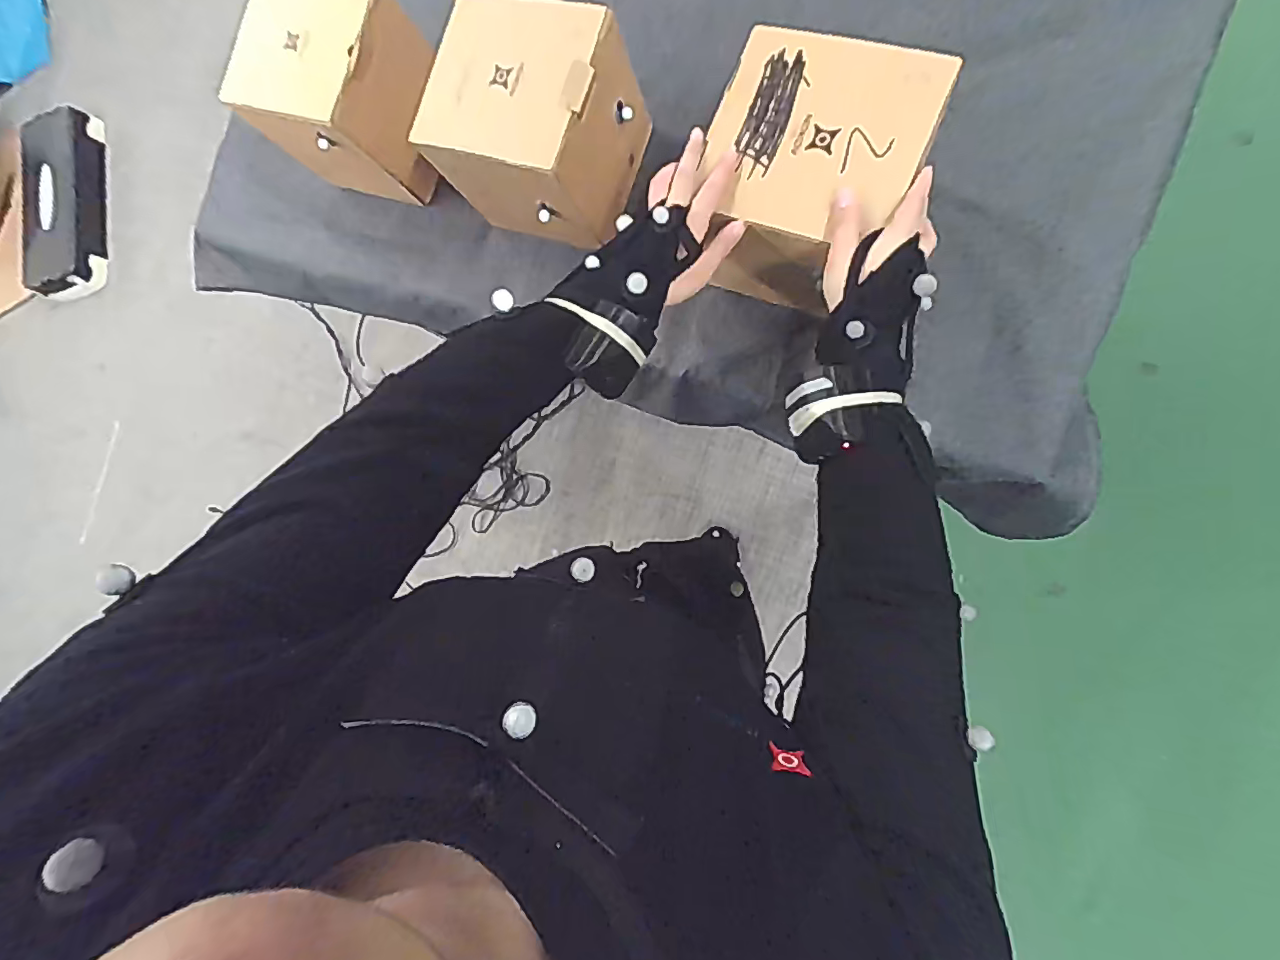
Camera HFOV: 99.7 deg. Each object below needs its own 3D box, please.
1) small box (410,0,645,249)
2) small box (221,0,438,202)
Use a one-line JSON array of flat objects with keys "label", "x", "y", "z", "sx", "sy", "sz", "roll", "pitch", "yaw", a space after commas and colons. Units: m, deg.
[{"label": "small box", "x": -0.112, "y": -0.386, "z": 0.608, "sx": 0.179, "sy": 0.176, "sz": 0.168, "roll": 20, "pitch": 90, "yaw": 17}, {"label": "small box", "x": -0.364, "y": -0.483, "z": 0.685, "sx": 0.179, "sy": 0.176, "sz": 0.168, "roll": 19, "pitch": 91, "yaw": 15}]
